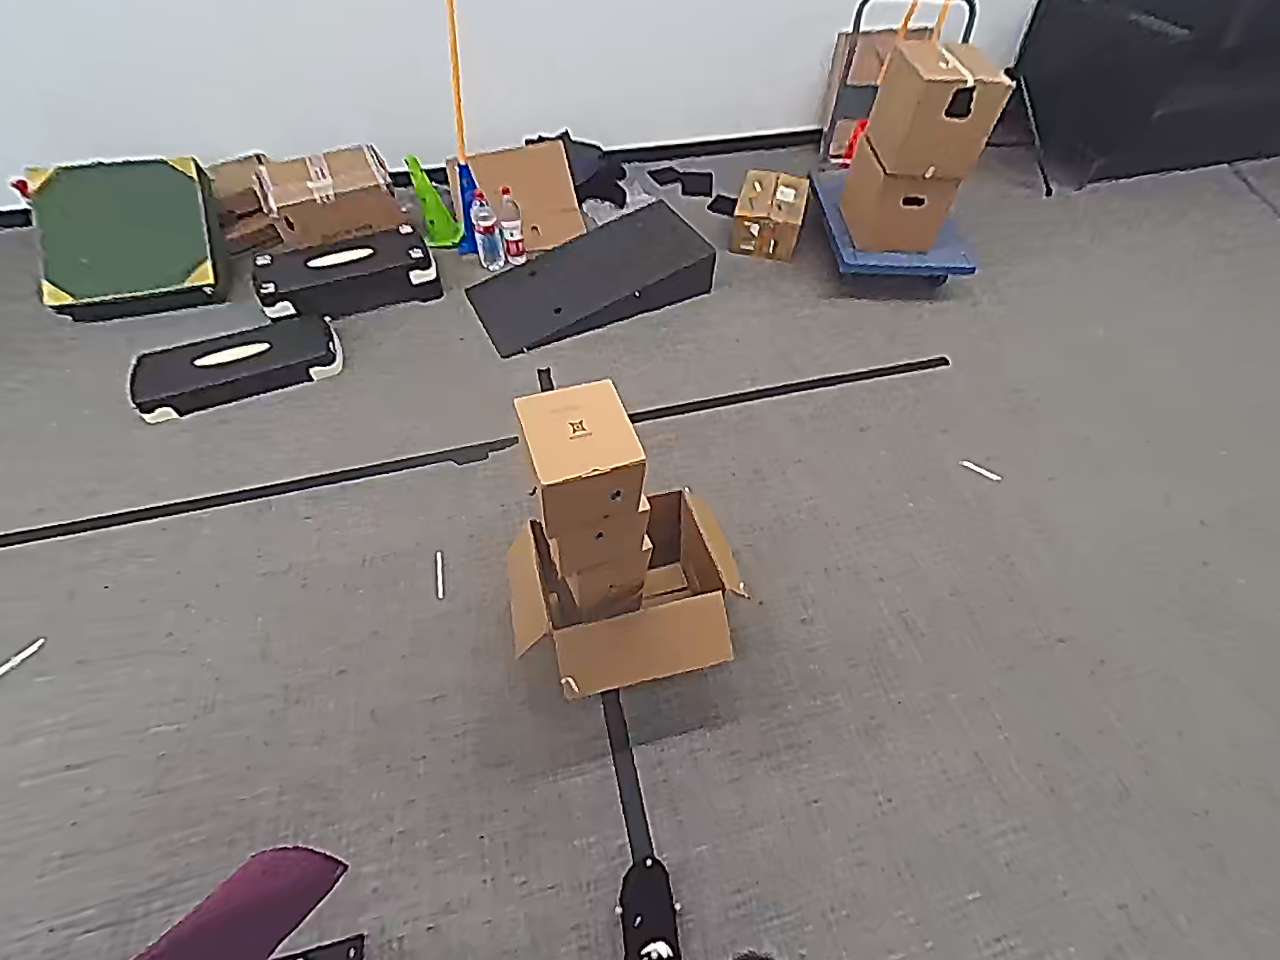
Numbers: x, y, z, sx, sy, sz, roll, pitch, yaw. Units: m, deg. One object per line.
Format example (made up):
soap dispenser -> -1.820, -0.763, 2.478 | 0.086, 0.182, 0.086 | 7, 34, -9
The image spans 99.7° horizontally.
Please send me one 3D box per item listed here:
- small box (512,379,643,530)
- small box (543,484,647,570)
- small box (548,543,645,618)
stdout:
small box -> -0.104, -0.034, 0.894 | 0.168, 0.176, 0.179 | -15, 59, -16
small box -> -0.101, 0.051, 1.034 | 0.179, 0.176, 0.168 | -16, 61, -16
small box -> -0.107, 0.209, 1.325 | 0.179, 0.176, 0.168 | -28, 63, -23
